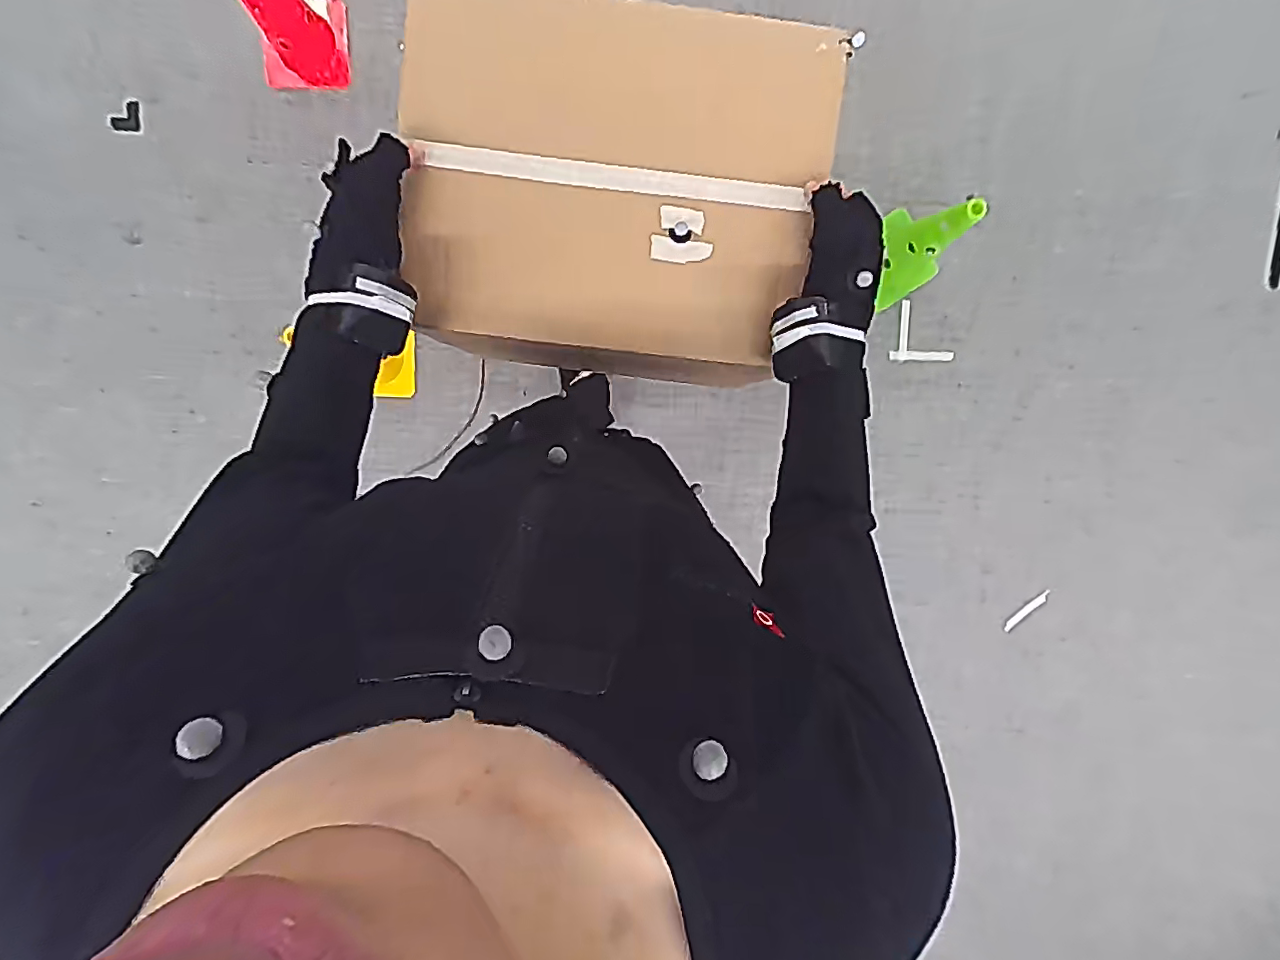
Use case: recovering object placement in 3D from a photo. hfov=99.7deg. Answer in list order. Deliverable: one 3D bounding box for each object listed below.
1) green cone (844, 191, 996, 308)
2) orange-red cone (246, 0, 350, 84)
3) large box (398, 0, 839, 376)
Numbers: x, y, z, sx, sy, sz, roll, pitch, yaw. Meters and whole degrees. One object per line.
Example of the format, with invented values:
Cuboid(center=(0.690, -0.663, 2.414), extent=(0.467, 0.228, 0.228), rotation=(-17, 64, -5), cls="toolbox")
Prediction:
Cuboid(center=(0.660, -0.555, 1.226), extent=(0.202, 0.368, 0.200), rotation=(-34, 97, 1), cls="green cone")
Cuboid(center=(-0.797, -1.035, 1.129), extent=(0.198, 0.360, 0.199), rotation=(1, 98, -1), cls="orange-red cone")
Cuboid(center=(-0.029, -0.311, 0.660), extent=(0.408, 0.320, 0.320), rotation=(6, 97, -3), cls="large box")
